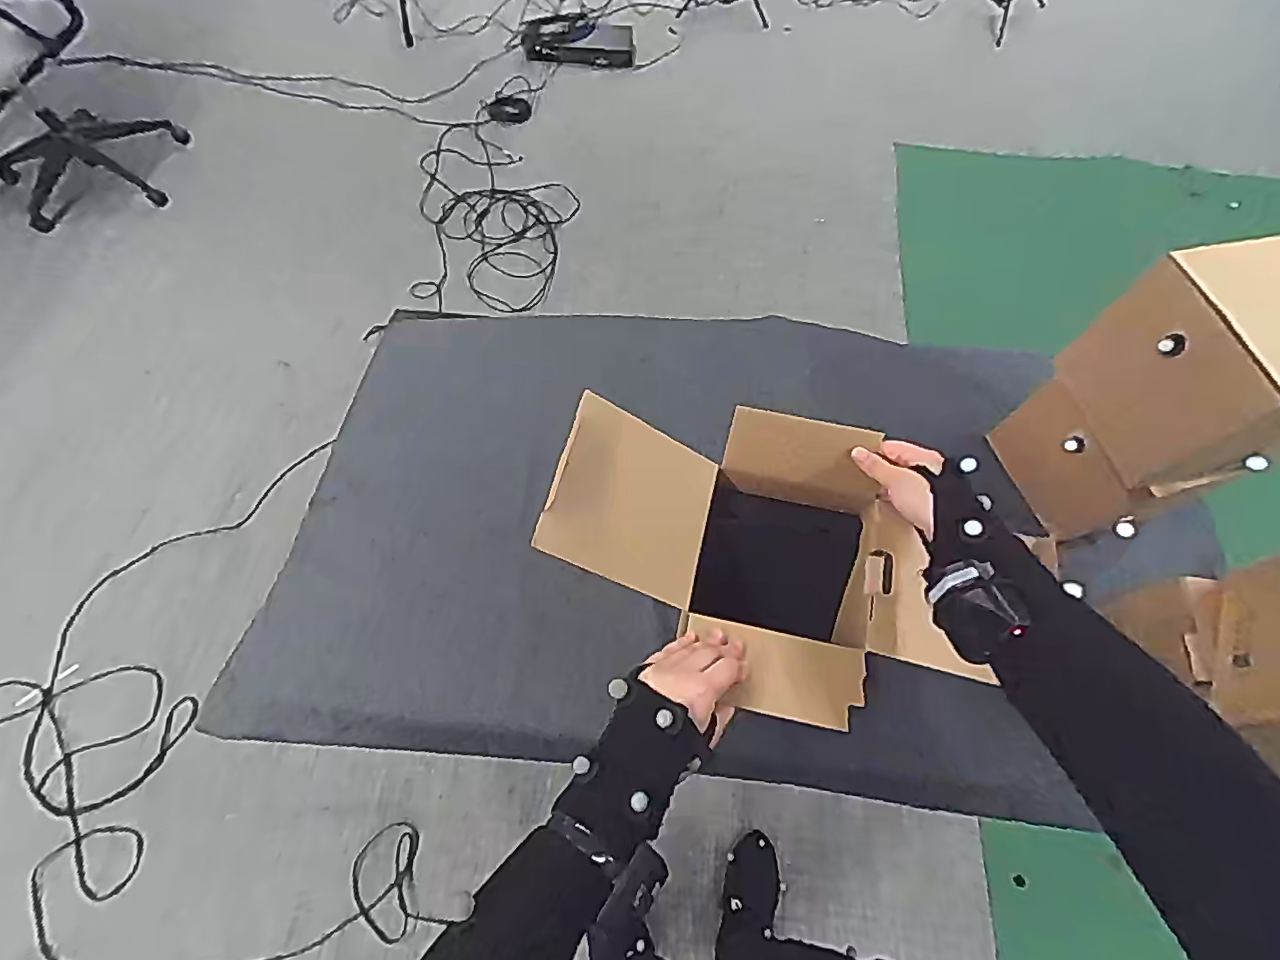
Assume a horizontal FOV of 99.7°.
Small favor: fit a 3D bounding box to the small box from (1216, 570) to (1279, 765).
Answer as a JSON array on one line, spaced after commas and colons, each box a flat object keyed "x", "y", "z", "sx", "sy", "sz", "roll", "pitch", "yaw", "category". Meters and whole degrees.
[{"x": 0.603, "y": 0.157, "z": 0.403, "sx": 0.179, "sy": 0.176, "sz": 0.168, "roll": 31, "pitch": 65, "yaw": 14, "category": "small box"}]

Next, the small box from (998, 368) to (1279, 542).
[{"x": 0.605, "y": -0.041, "z": 0.684, "sx": 0.168, "sy": 0.176, "sz": 0.179, "roll": -14, "pitch": 67, "yaw": -4, "category": "small box"}]

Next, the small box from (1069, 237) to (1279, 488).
[{"x": 0.586, "y": -0.112, "z": 0.535, "sx": 0.168, "sy": 0.176, "sz": 0.179, "roll": -9, "pitch": 66, "yaw": -1, "category": "small box"}]
